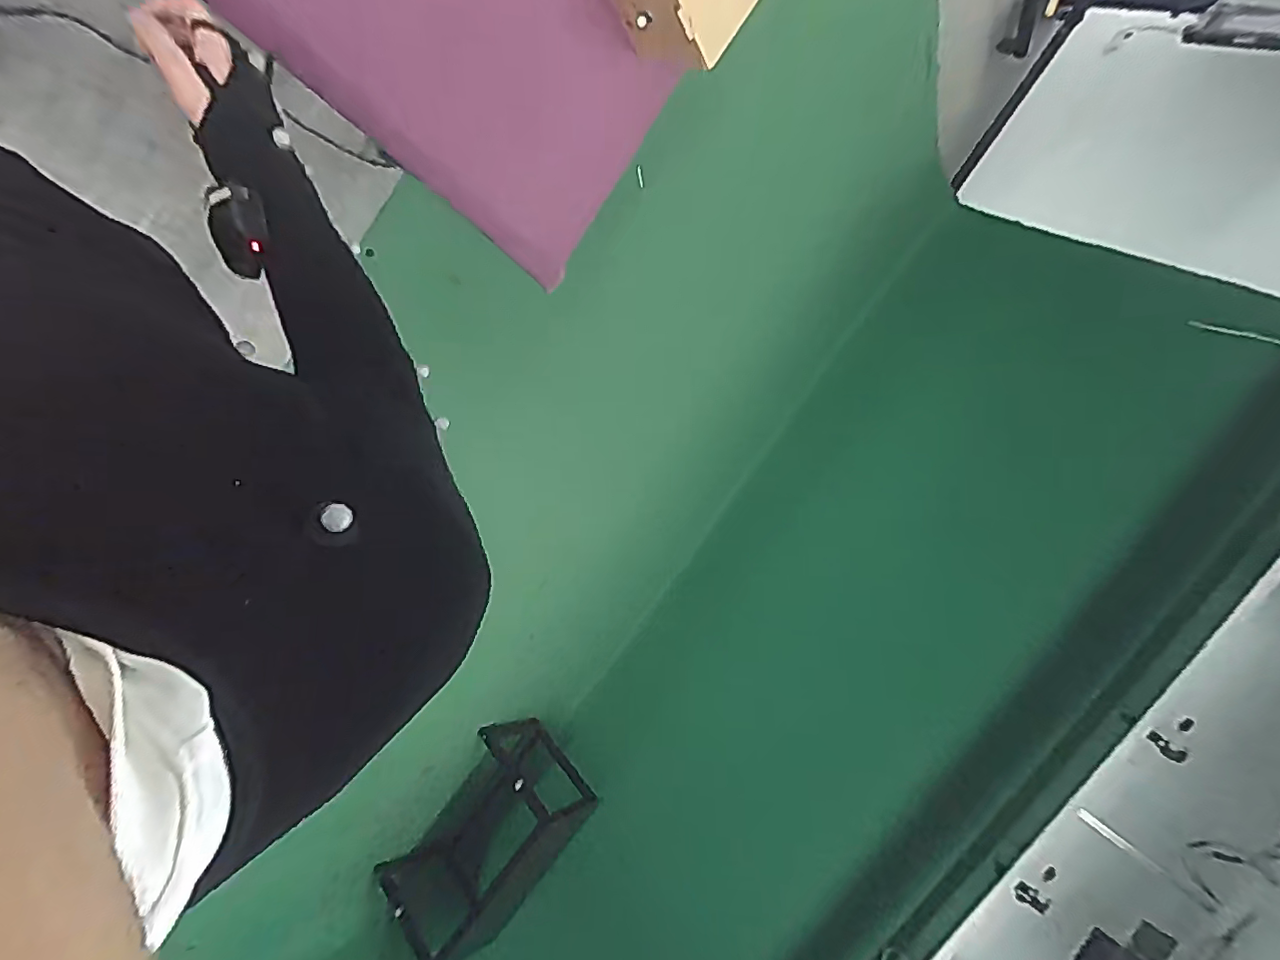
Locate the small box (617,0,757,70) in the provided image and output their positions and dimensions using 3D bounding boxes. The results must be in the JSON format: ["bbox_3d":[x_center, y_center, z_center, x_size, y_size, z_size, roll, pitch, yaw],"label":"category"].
[{"bbox_3d":[0.063,-0.771,0.808,0.179,0.176,0.168,-52,150,7],"label":"small box"}]
